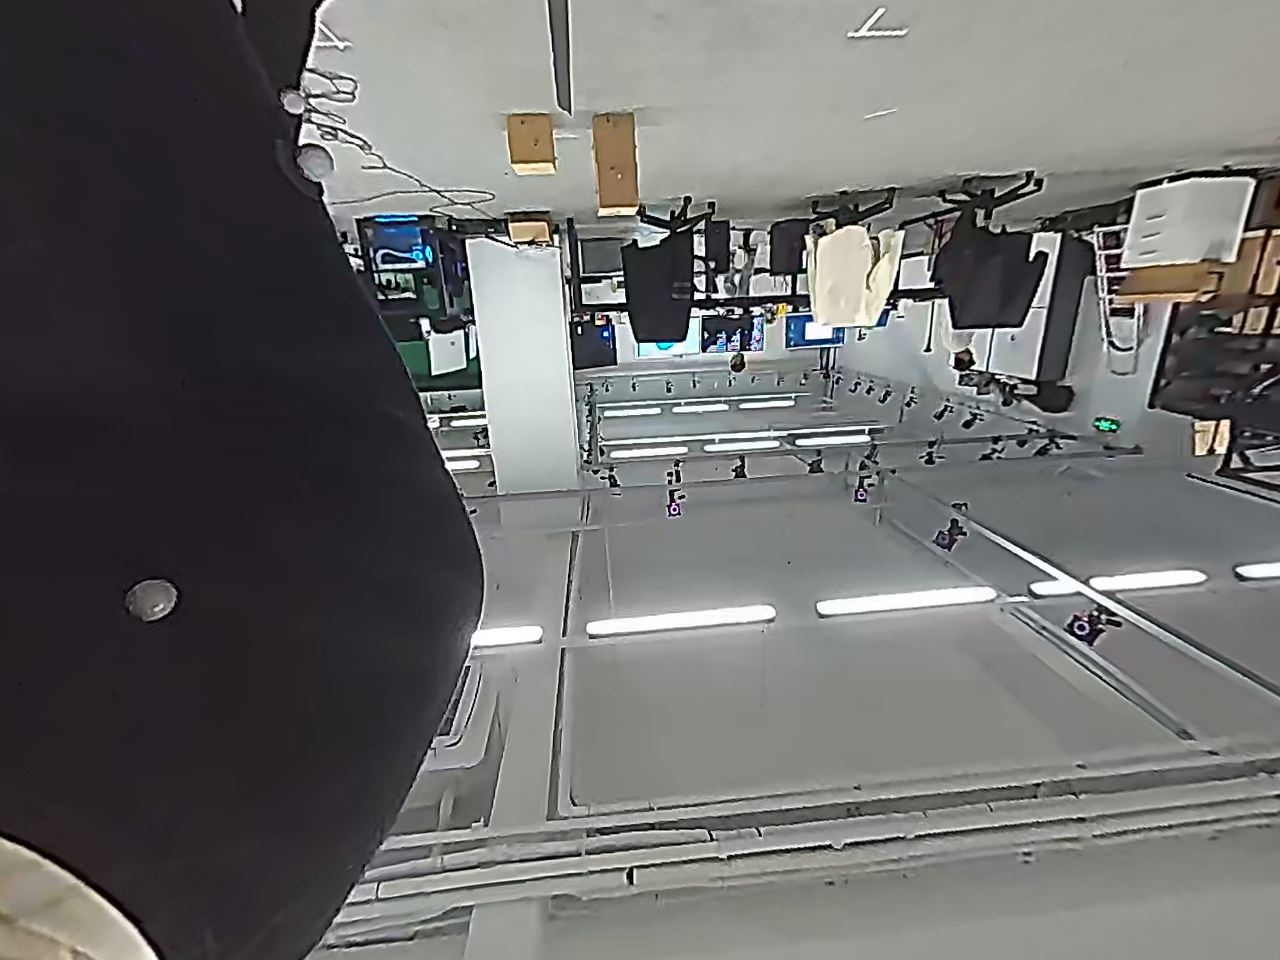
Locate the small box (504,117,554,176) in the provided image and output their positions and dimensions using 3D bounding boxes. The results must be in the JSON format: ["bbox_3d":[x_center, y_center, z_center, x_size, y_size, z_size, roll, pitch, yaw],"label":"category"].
[{"bbox_3d":[-0.446,-1.347,2.181,0.168,0.176,0.179,-4,-162,-2],"label":"small box"}]

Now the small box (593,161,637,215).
[{"bbox_3d":[-0.108,-1.219,2.263,0.168,0.176,0.179,-6,-163,-6],"label":"small box"}]
